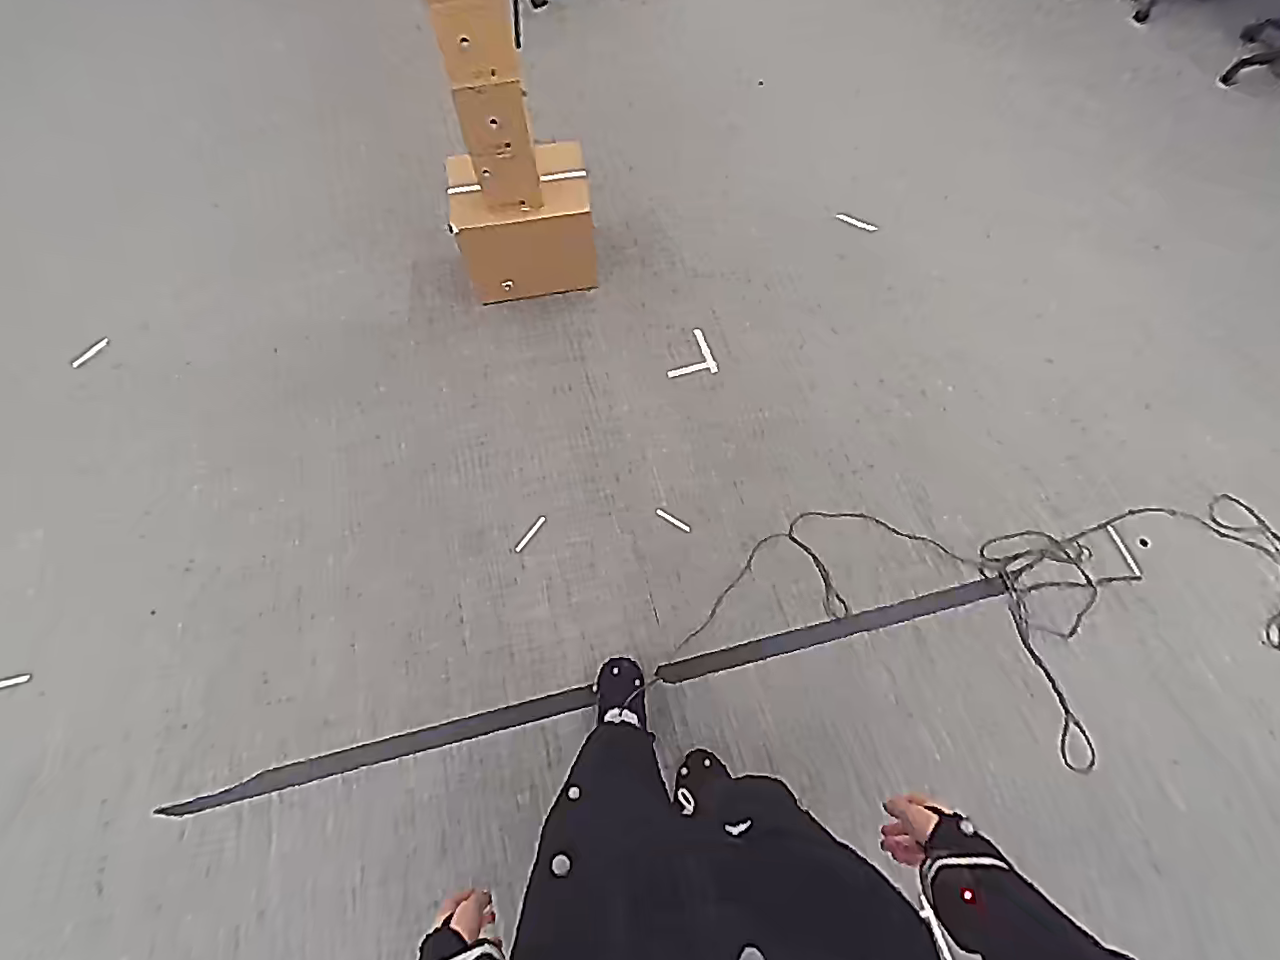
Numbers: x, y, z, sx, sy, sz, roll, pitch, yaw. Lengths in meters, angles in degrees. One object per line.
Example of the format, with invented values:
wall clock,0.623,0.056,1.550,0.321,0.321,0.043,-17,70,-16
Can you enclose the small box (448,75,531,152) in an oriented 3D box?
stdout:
small box,-0.375,-0.957,1.362,0.168,0.176,0.179,-9,68,-4

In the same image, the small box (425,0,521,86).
small box,-0.372,-1.019,1.211,0.168,0.176,0.179,-11,67,-4
